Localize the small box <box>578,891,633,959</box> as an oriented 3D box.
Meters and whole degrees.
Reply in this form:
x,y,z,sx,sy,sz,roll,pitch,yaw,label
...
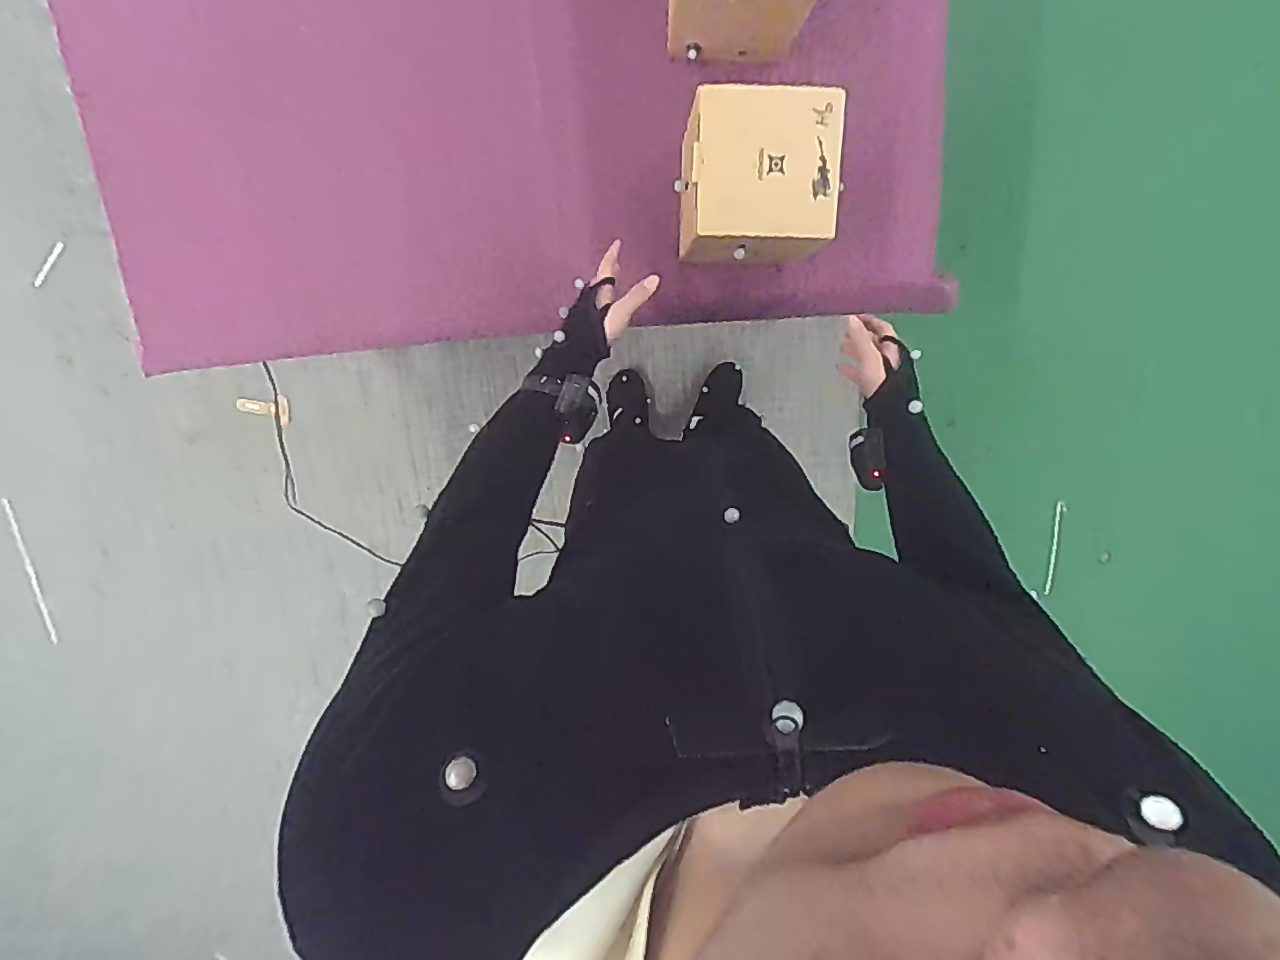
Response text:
x,y,z,sx,sy,sz,roll,pitch,yaw,label
-0.115,1.566,1.864,0.179,0.176,0.168,-3,103,-2,small box

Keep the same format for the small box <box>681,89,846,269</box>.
x,y,z,sx,sy,sz,roll,pitch,yaw,label
0.150,-0.384,0.718,0.179,0.176,0.168,1,101,-2,small box

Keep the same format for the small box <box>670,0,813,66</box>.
x,y,z,sx,sy,sz,roll,pitch,yaw,label
0.127,-0.649,0.663,0.168,0.176,0.179,2,102,-2,small box
